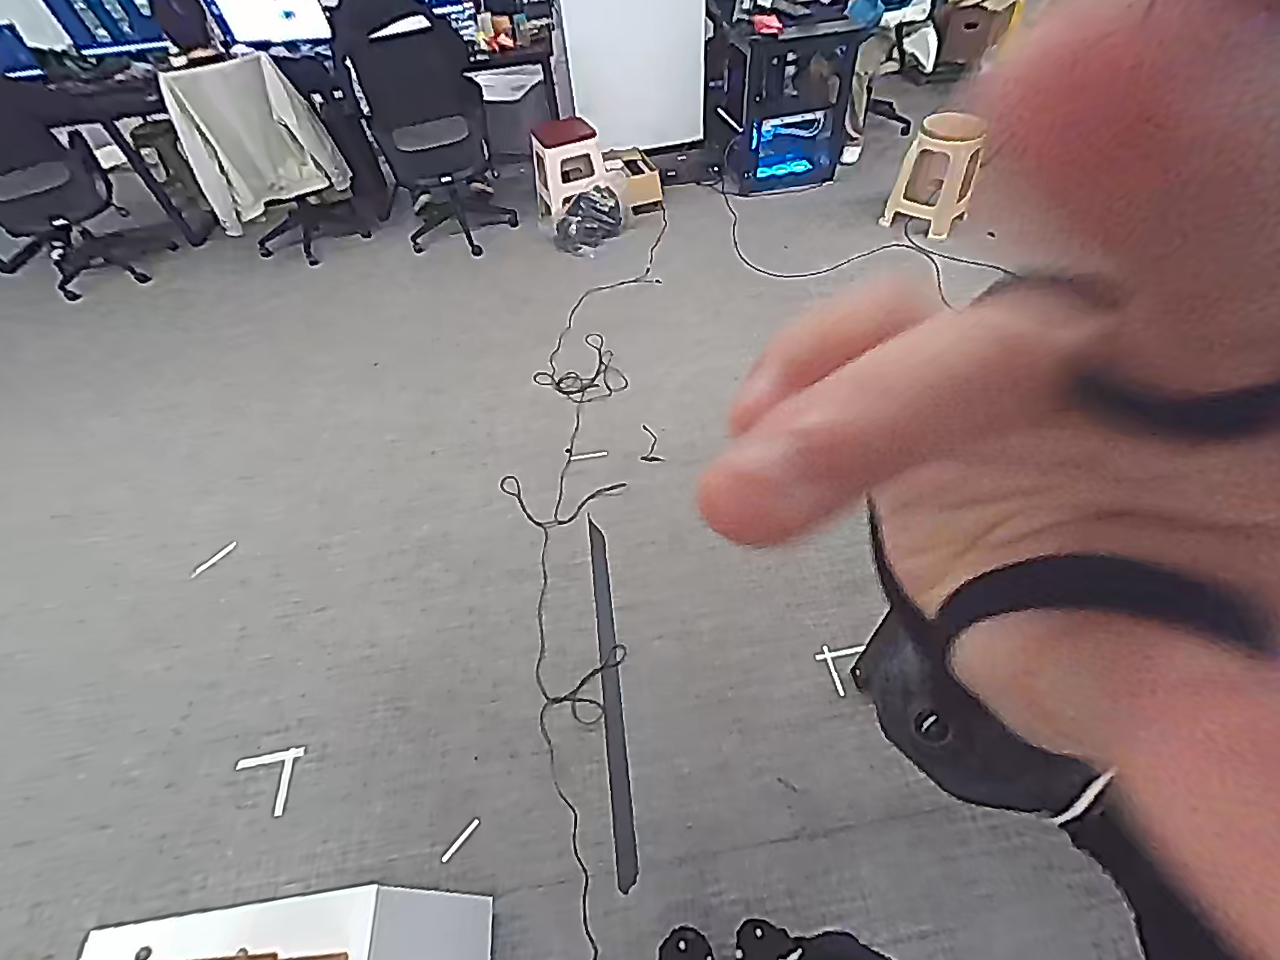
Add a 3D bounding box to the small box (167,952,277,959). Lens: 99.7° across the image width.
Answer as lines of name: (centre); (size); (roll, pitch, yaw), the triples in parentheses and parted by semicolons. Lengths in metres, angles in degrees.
small box: (-0.466, 0.526, 0.465); (0.179, 0.176, 0.168); (-7, 52, -1)
